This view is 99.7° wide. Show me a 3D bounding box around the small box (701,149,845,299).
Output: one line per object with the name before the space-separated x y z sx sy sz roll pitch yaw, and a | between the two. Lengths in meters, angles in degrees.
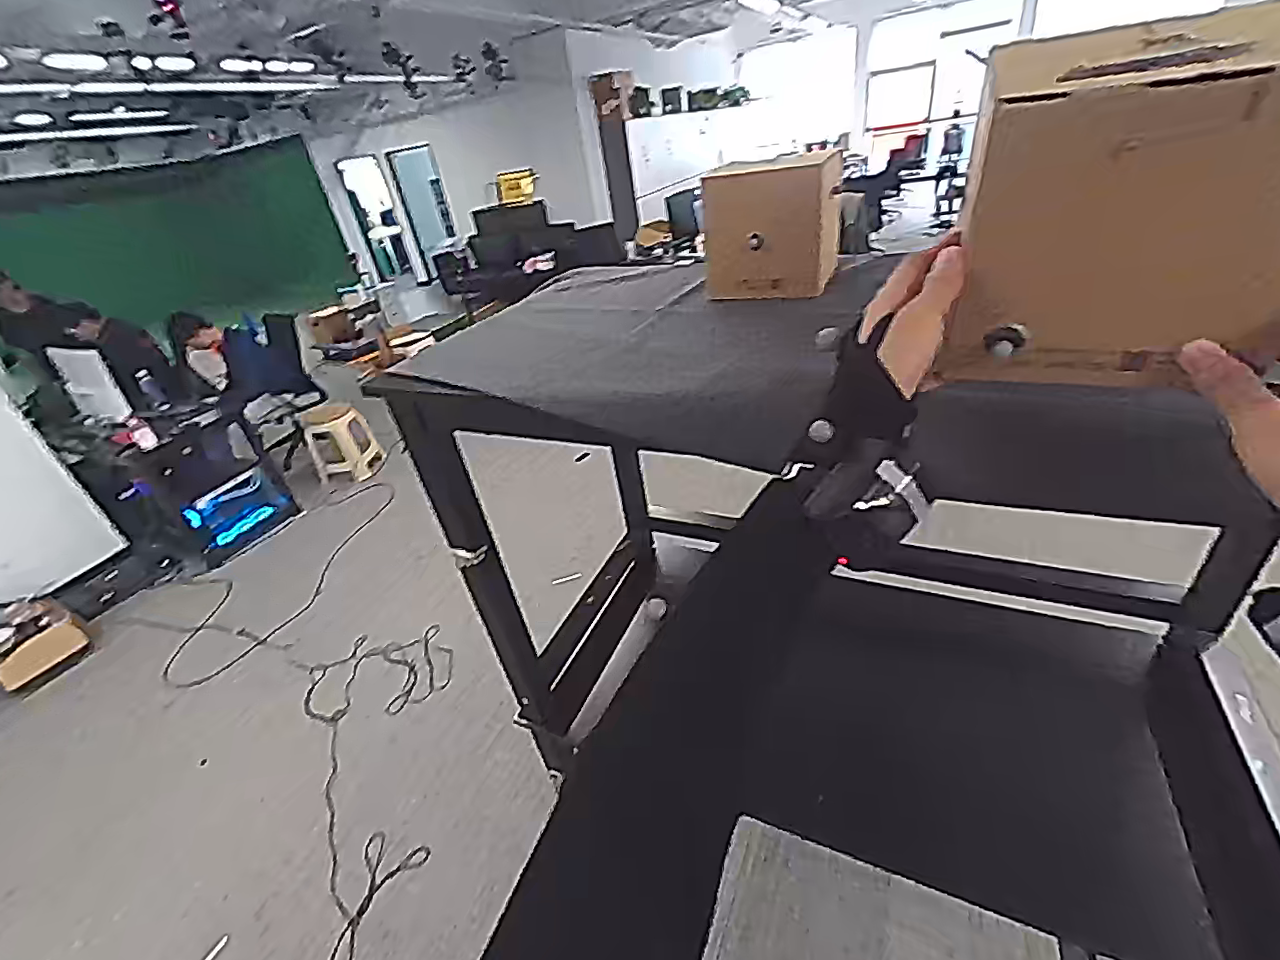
small box | 0.202 -0.373 0.799 0.168 0.176 0.179 8 37 25

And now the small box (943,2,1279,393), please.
small box | 0.304 -0.173 0.347 0.168 0.176 0.179 9 46 24
